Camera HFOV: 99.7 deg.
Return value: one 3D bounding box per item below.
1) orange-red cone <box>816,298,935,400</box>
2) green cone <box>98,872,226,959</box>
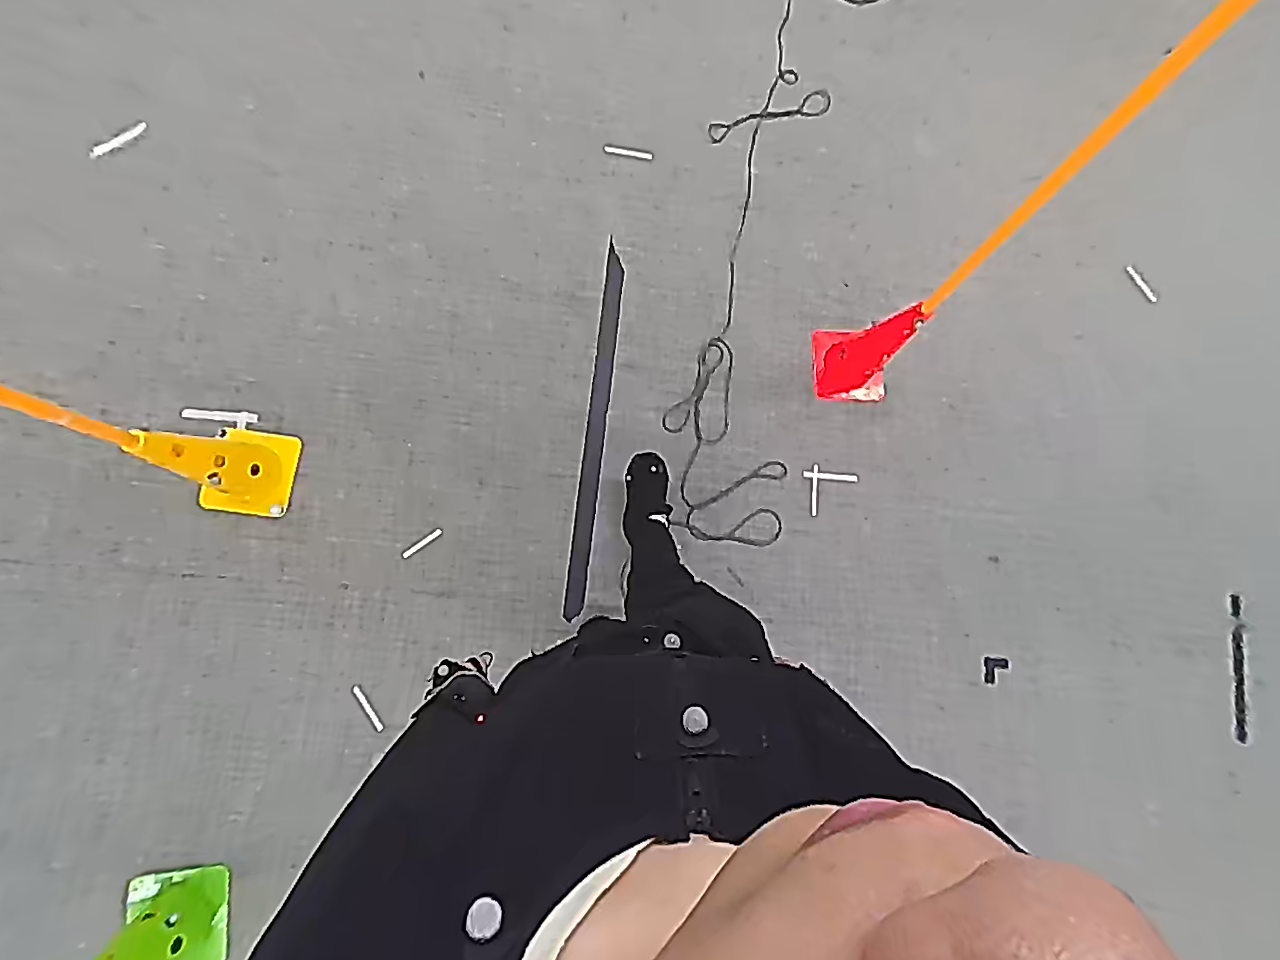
[{"bbox_3d":[0.597,-0.344,1.328,0.199,0.360,0.198,1,81,-4],"label":"orange-red cone"},{"bbox_3d":[-0.967,0.918,0.974,0.200,0.368,0.202,-4,80,-7],"label":"green cone"}]
